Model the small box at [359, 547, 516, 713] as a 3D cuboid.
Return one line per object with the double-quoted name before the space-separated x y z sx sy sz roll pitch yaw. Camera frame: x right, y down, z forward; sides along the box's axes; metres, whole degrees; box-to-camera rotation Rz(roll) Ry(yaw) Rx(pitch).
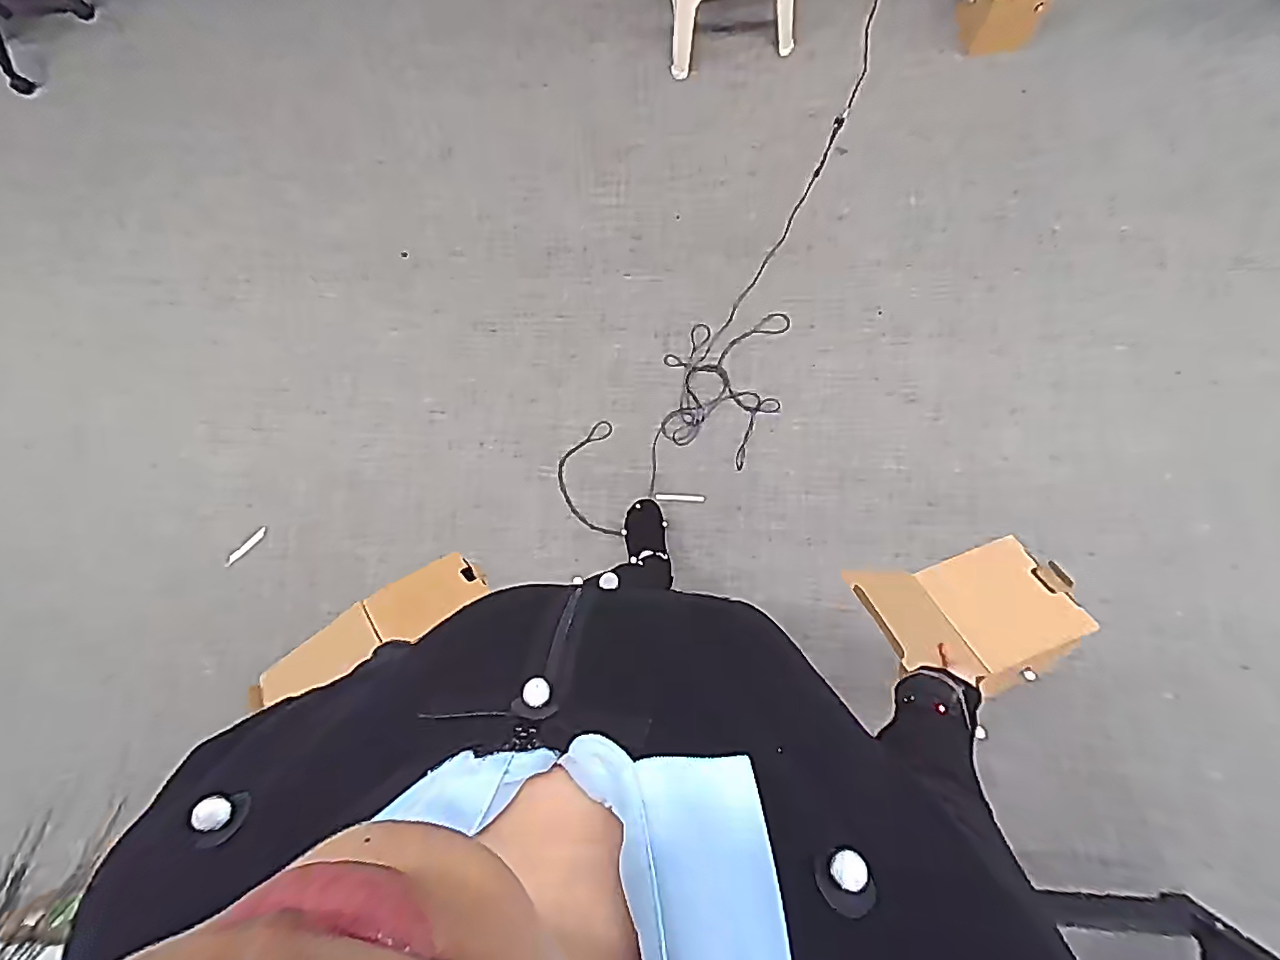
"small box" -0.338 0.251 0.916 0.179 0.176 0.168 -29 37 -28
